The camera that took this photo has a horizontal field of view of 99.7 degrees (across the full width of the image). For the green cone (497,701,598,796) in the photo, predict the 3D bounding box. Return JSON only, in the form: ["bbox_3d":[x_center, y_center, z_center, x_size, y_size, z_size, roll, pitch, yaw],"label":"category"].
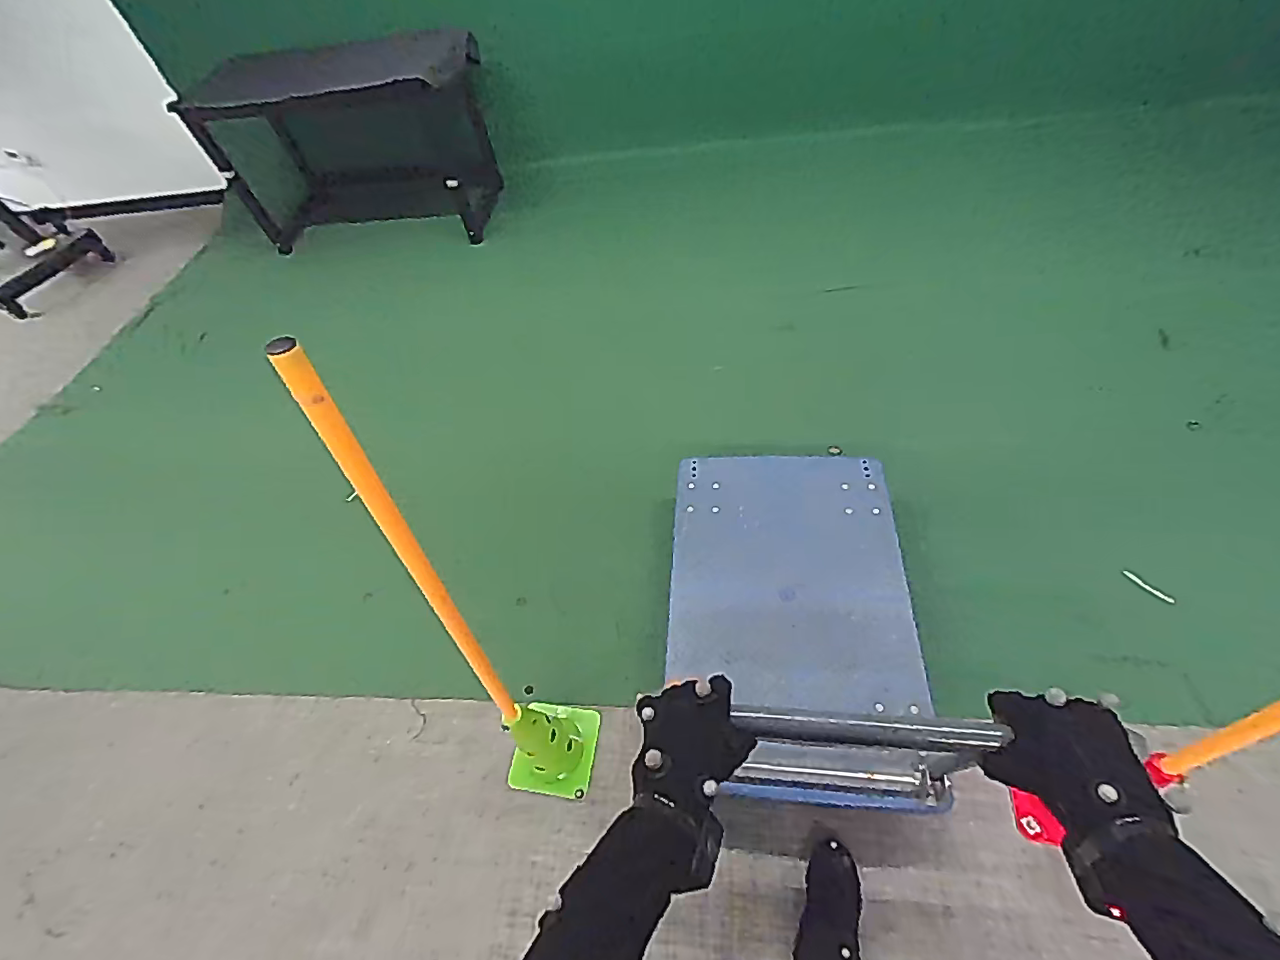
[{"bbox_3d":[-0.238,0.564,1.219,0.202,0.368,0.200,3,54,11],"label":"green cone"}]
